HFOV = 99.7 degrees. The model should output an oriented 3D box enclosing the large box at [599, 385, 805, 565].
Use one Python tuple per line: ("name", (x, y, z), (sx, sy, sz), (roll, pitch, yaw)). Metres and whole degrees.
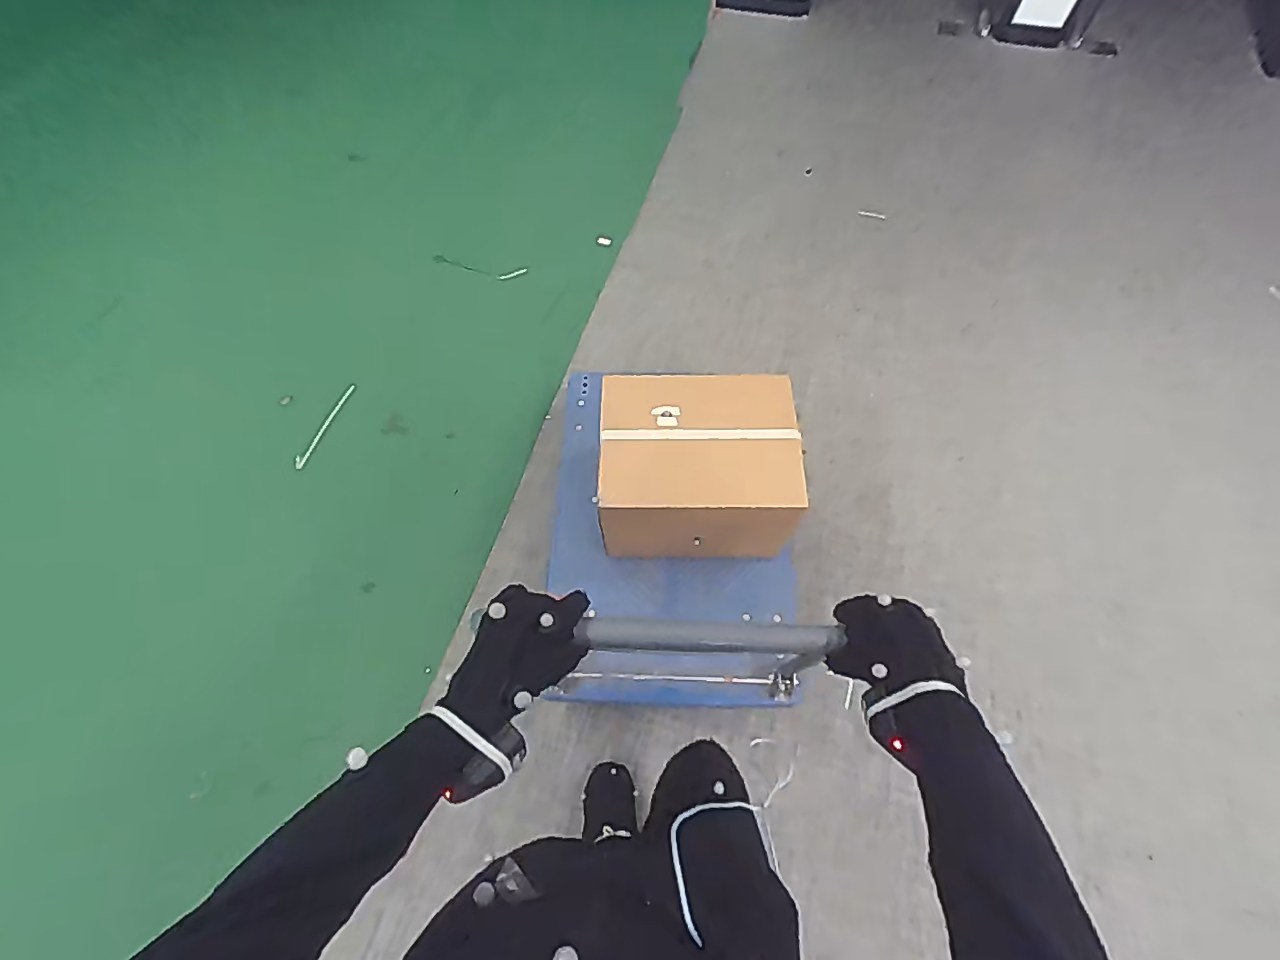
("large box", (0.126, 0.003, 1.242), (0.408, 0.320, 0.320), (-1, 62, 2))
